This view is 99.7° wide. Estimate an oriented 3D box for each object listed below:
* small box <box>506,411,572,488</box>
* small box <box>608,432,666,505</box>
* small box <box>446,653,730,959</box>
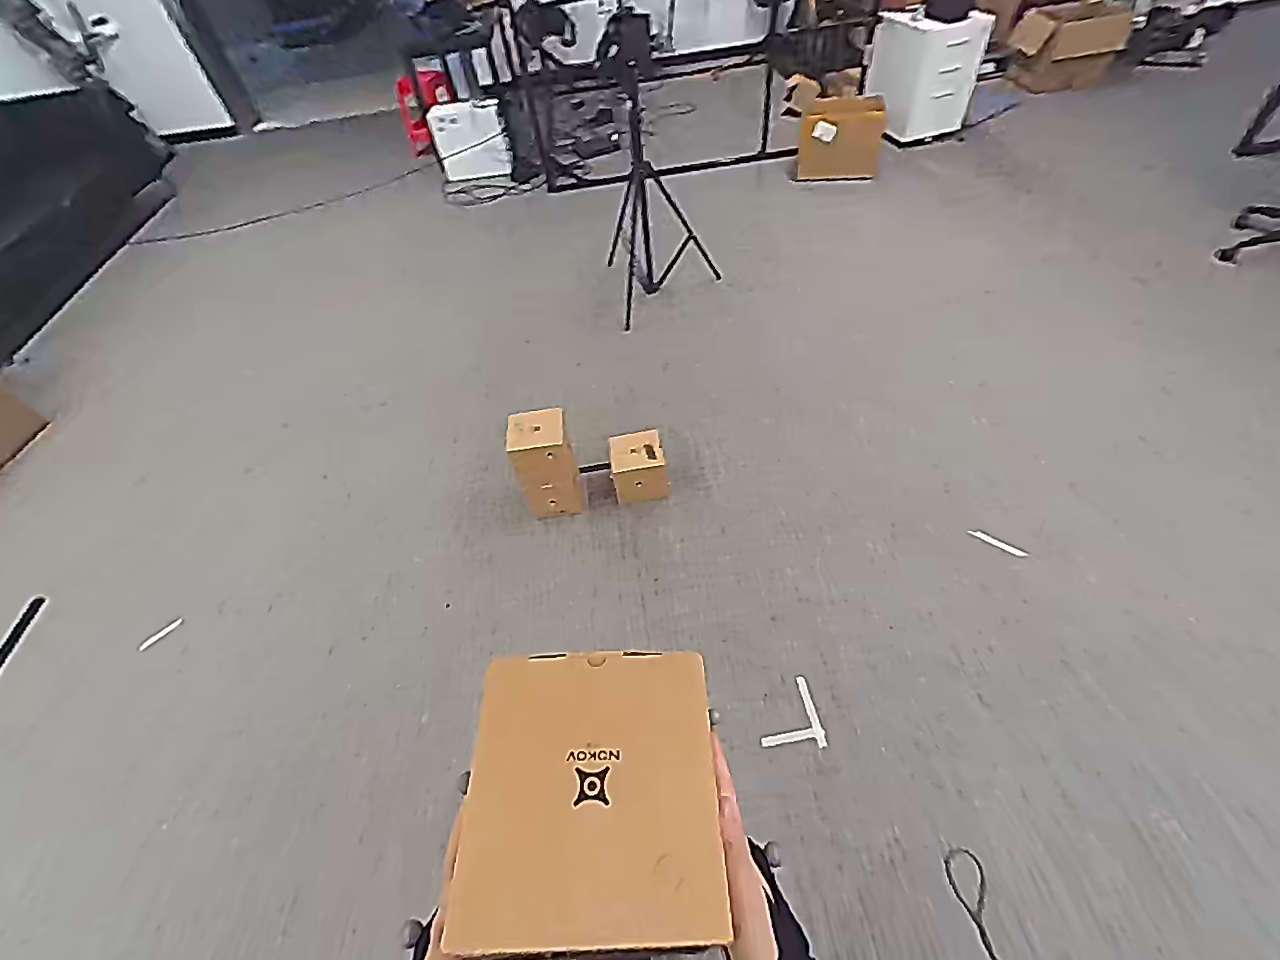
[{"bbox_3d":[-0.315,-0.094,1.720,0.179,0.176,0.168,-9,49,1],"label":"small box"},{"bbox_3d":[-0.006,-0.036,1.845,0.179,0.176,0.168,-10,50,1],"label":"small box"},{"bbox_3d":[-0.029,0.253,0.417,0.168,0.176,0.179,-1,46,-1],"label":"small box"}]
